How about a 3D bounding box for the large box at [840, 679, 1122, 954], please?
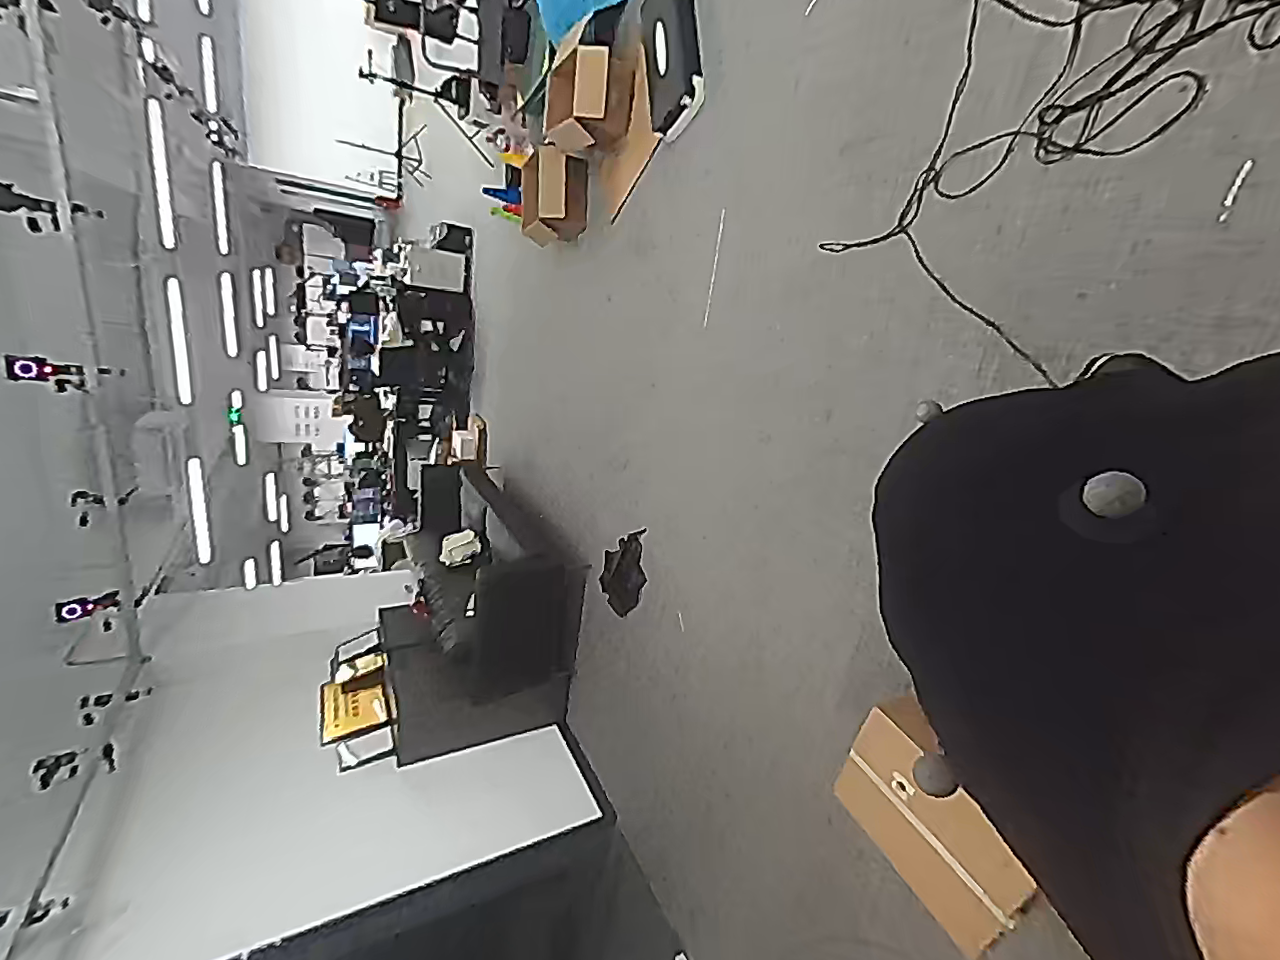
[{"bbox_3d":[0.766,0.747,1.266,0.408,0.320,0.320,46,130,52],"label":"large box"}]
